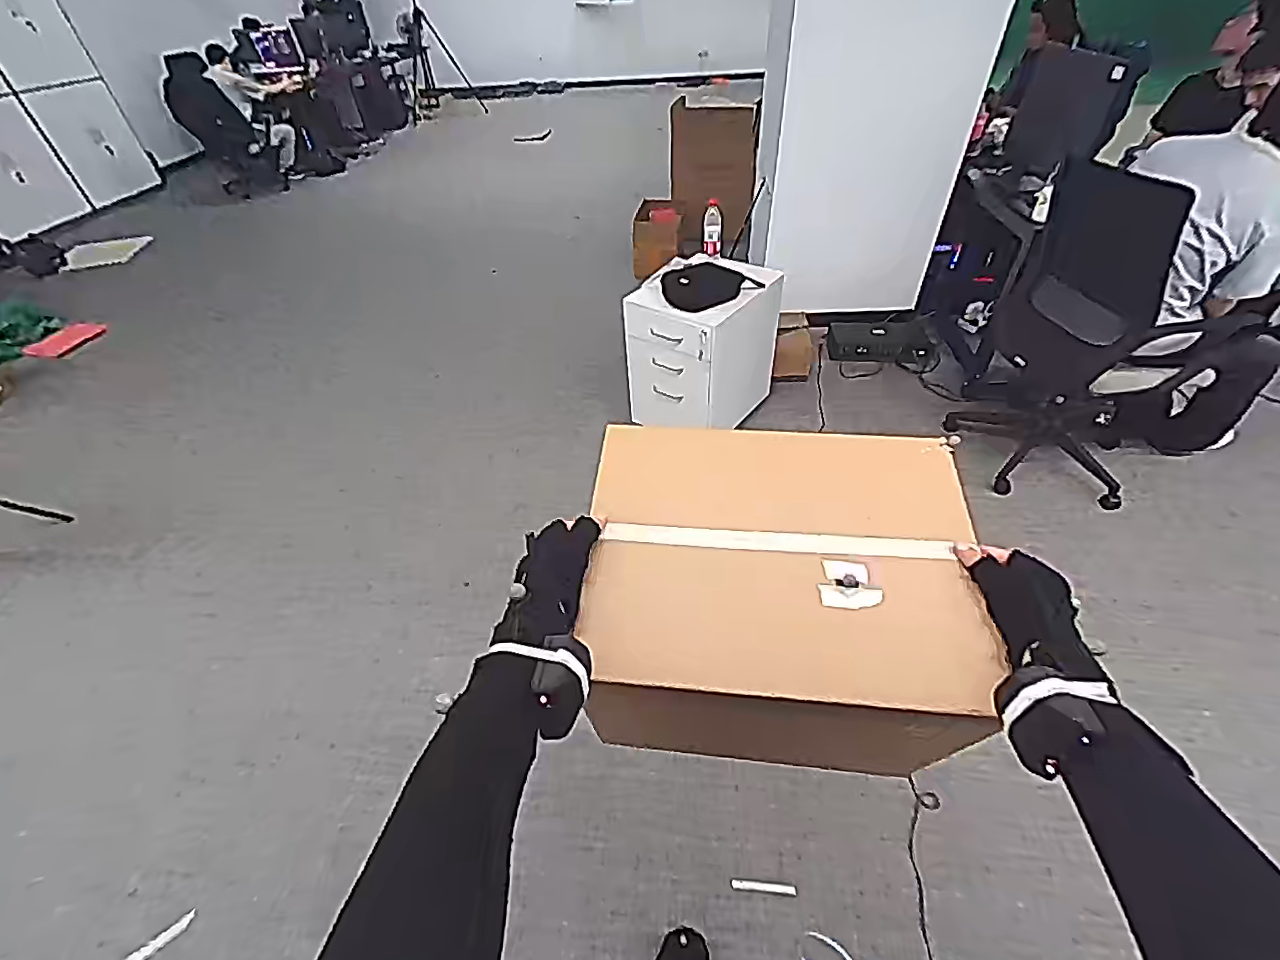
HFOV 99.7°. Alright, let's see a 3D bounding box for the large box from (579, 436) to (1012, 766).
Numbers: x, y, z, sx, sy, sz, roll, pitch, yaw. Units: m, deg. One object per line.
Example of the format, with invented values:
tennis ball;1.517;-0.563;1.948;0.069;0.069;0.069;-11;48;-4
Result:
large box;0.156;0.162;0.704;0.408;0.320;0.320;3;54;6
